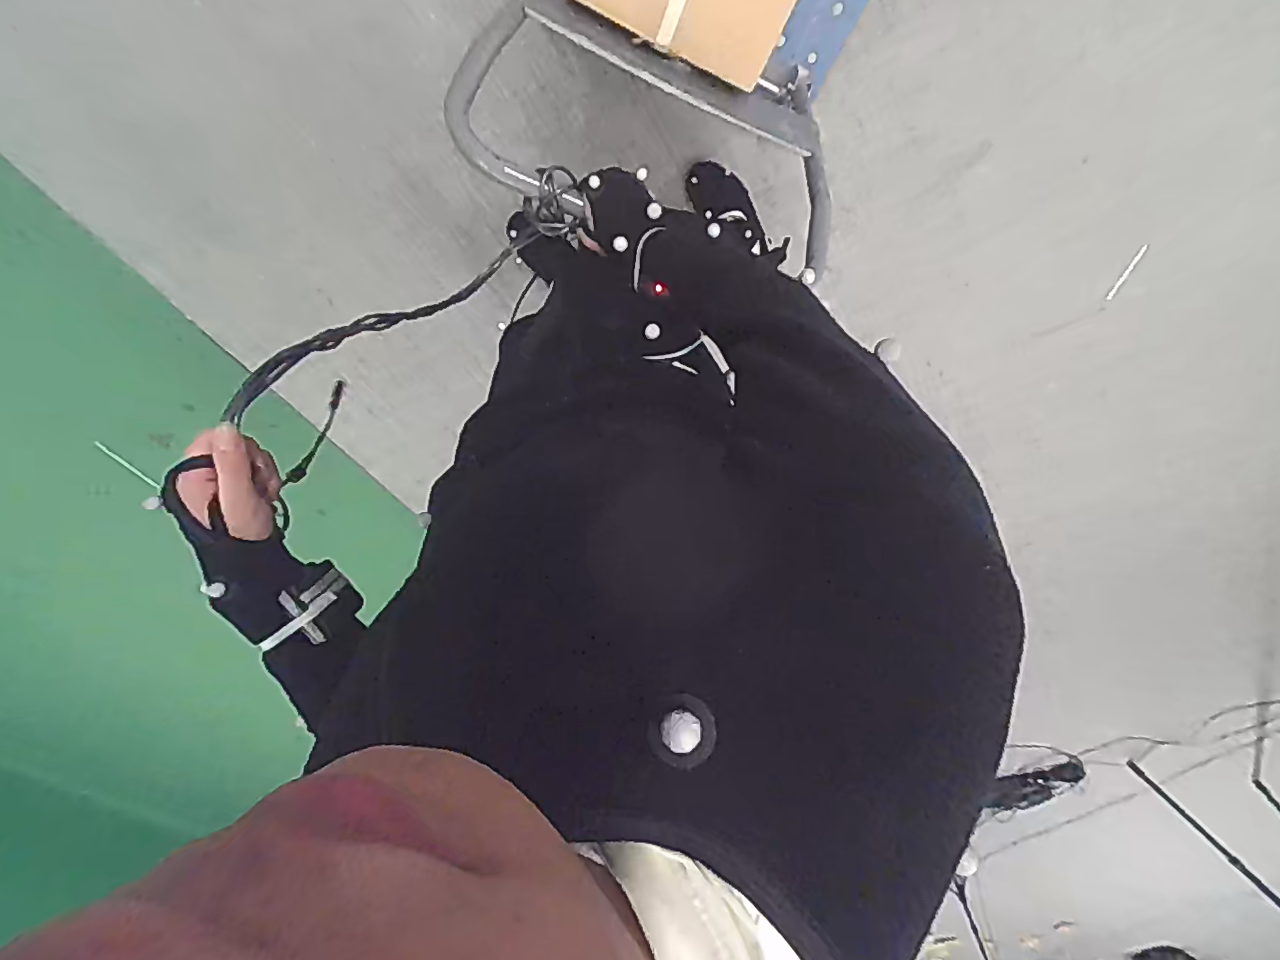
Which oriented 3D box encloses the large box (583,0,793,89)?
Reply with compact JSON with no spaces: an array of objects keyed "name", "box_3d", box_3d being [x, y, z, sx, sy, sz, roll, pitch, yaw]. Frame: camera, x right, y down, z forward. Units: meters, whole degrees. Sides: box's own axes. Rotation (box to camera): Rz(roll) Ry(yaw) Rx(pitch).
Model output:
[{"name":"large box","box_3d":[0.118,-0.880,0.764,0.320,0.320,0.408,19,138,-15]}]
